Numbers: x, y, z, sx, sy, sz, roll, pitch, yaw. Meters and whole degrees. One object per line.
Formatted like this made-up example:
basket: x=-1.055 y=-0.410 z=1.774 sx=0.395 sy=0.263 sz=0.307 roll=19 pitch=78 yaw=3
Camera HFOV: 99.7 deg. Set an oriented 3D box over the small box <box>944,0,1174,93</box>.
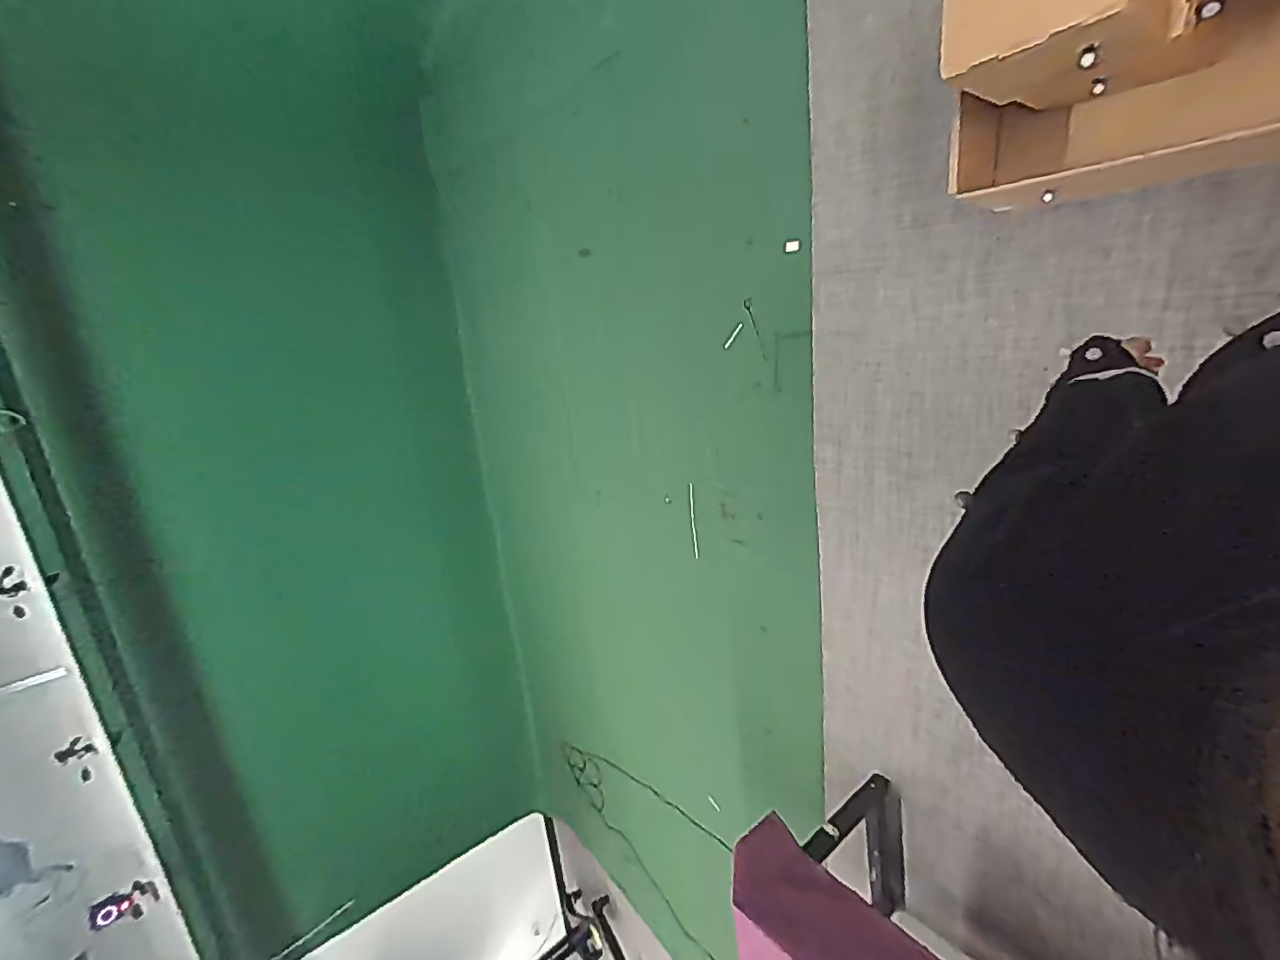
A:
small box: x=0.458 y=-0.550 z=0.585 sx=0.168 sy=0.176 sz=0.179 roll=16 pitch=116 yaw=51
